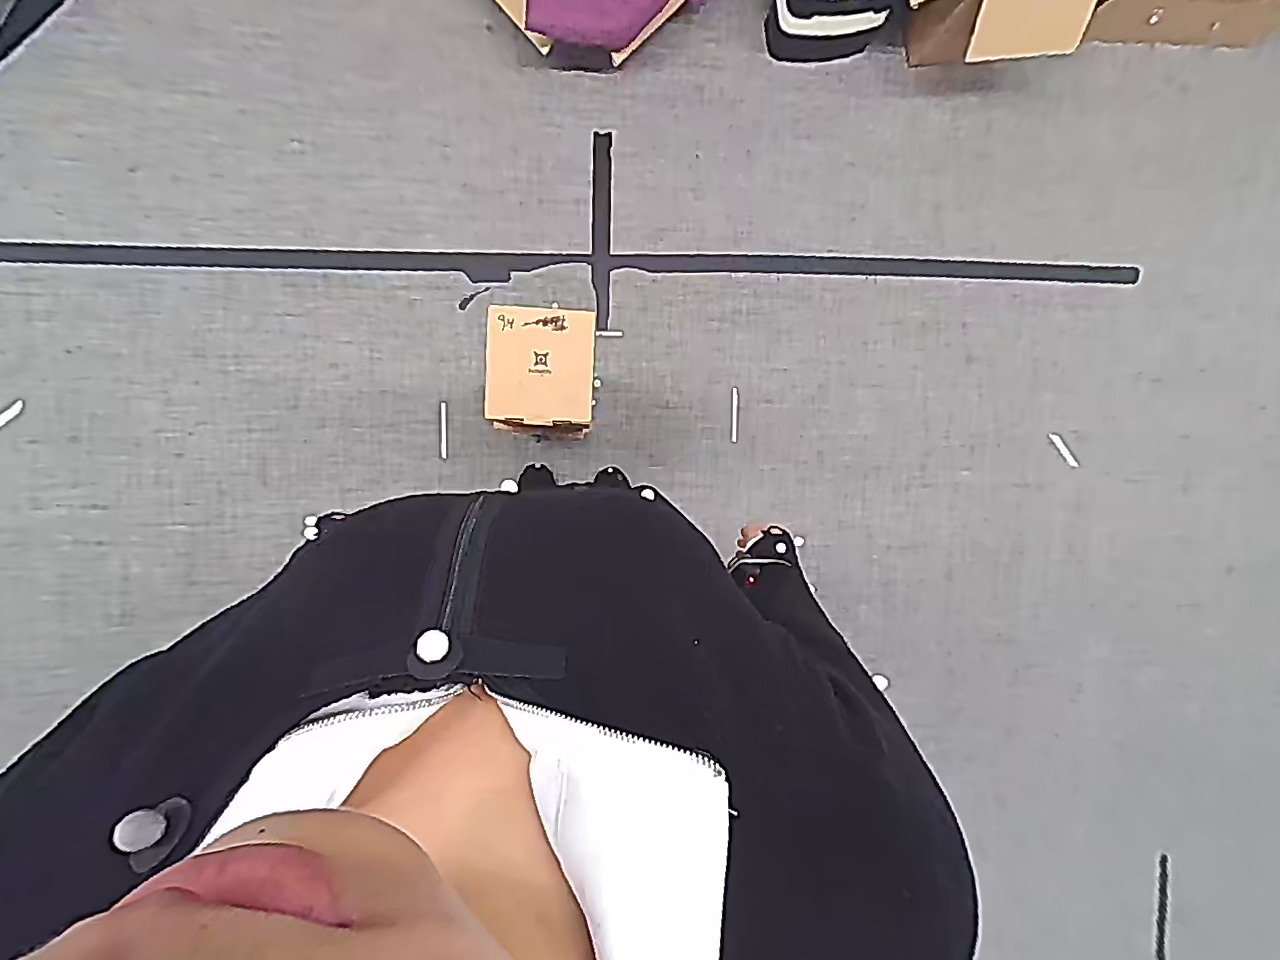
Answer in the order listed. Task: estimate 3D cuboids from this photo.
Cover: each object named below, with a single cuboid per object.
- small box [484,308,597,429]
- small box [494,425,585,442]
[{"bbox_3d":[-0.159,-0.176,0.904,0.168,0.176,0.179,2,94,-5],"label":"small box"},{"bbox_3d":[-0.185,-0.171,1.067,0.168,0.176,0.179,6,94,-5],"label":"small box"}]
